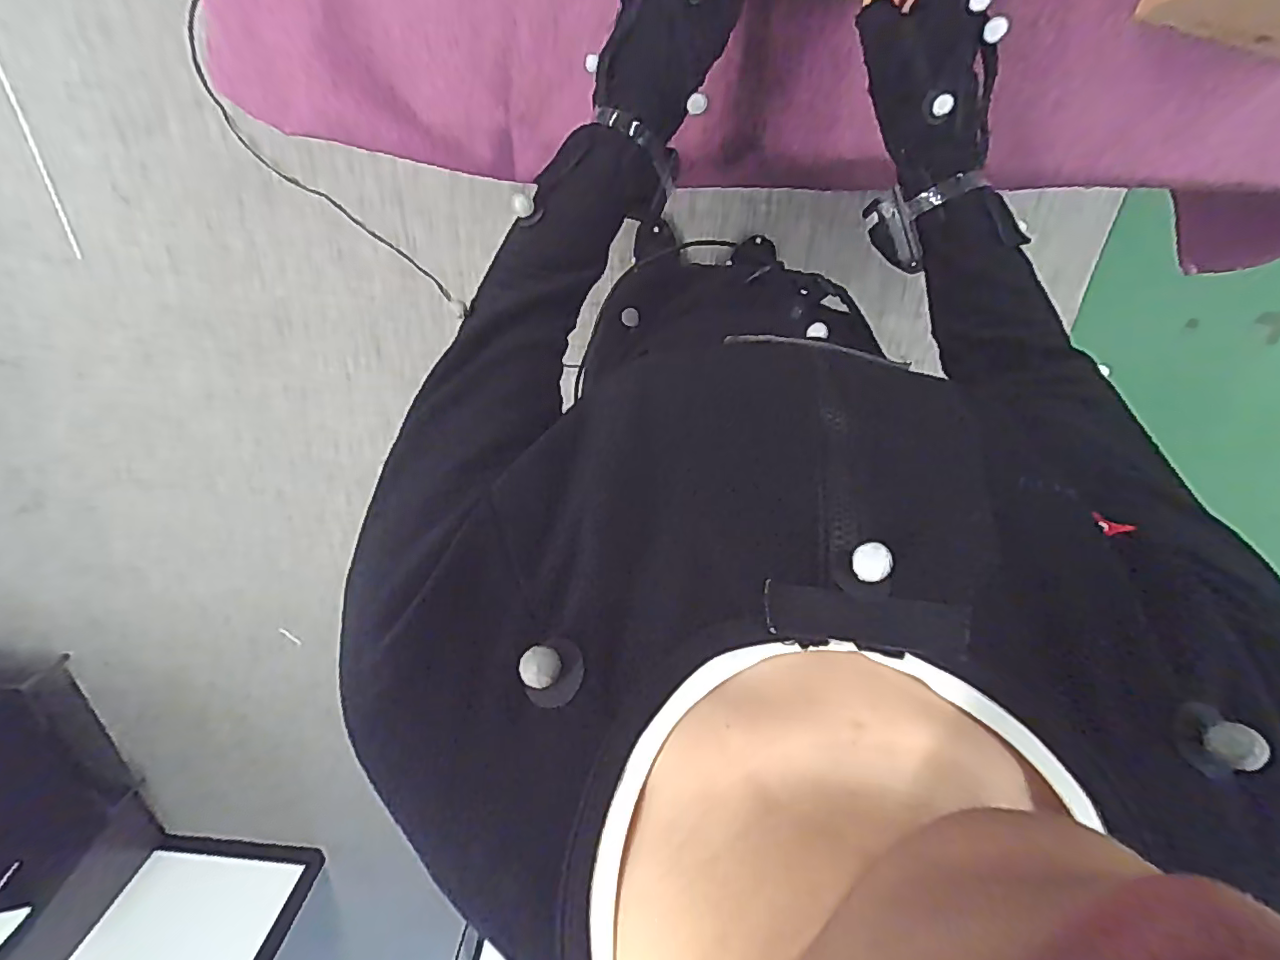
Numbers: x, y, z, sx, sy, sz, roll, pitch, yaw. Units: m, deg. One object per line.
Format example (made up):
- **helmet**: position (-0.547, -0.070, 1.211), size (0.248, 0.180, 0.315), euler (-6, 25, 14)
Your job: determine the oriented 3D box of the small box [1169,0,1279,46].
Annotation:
- **small box**: position (0.546, -0.446, 0.386), size (0.168, 0.176, 0.179), euler (14, 118, -2)
